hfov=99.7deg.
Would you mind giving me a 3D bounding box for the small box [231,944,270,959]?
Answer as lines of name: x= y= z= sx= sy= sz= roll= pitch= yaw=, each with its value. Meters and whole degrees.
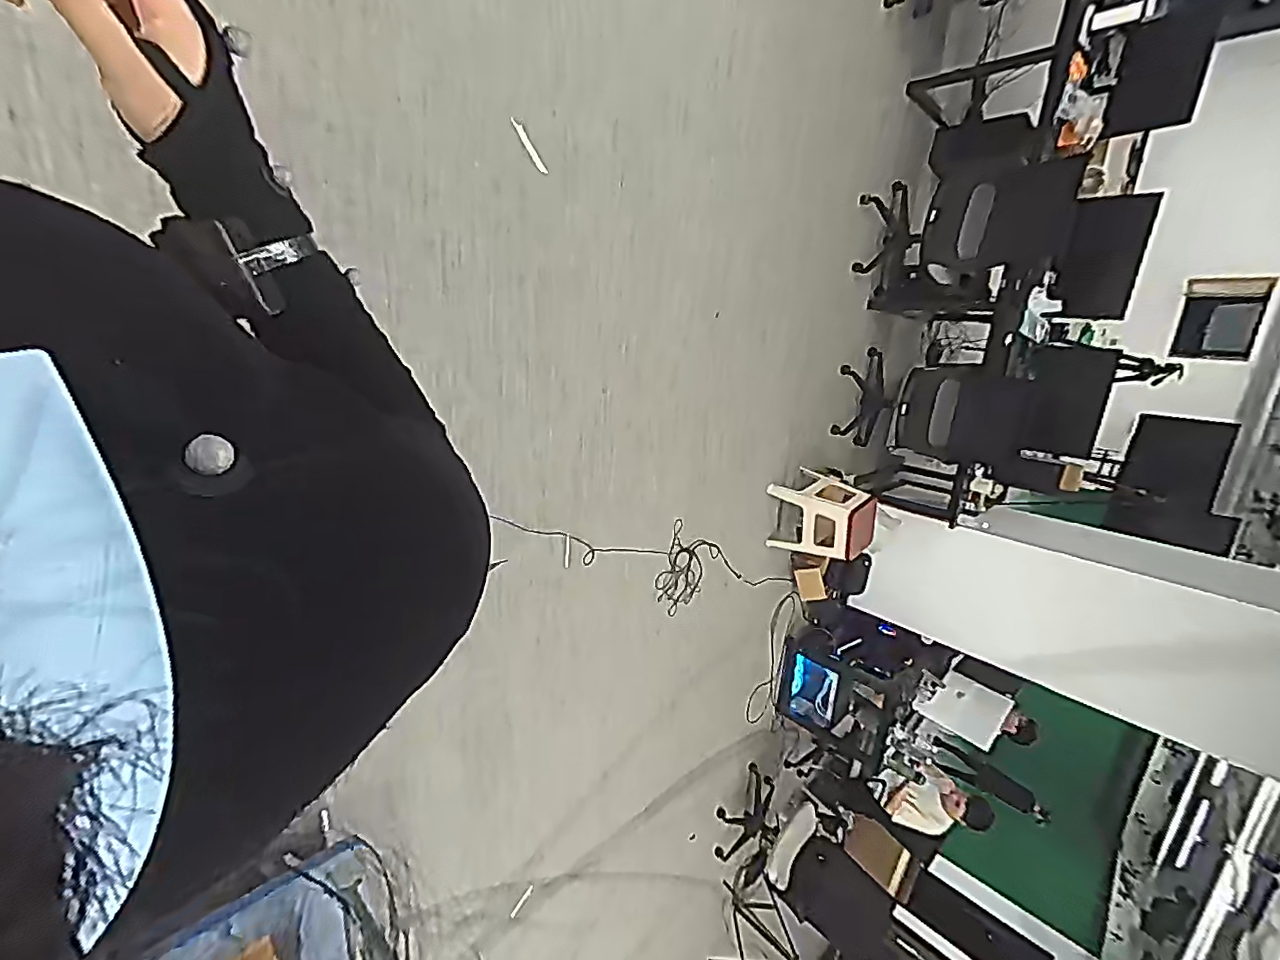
small box: x=-0.966 y=1.288 z=1.296 sx=0.168 sy=0.176 sz=0.179 roll=-16 pitch=114 yaw=-42
